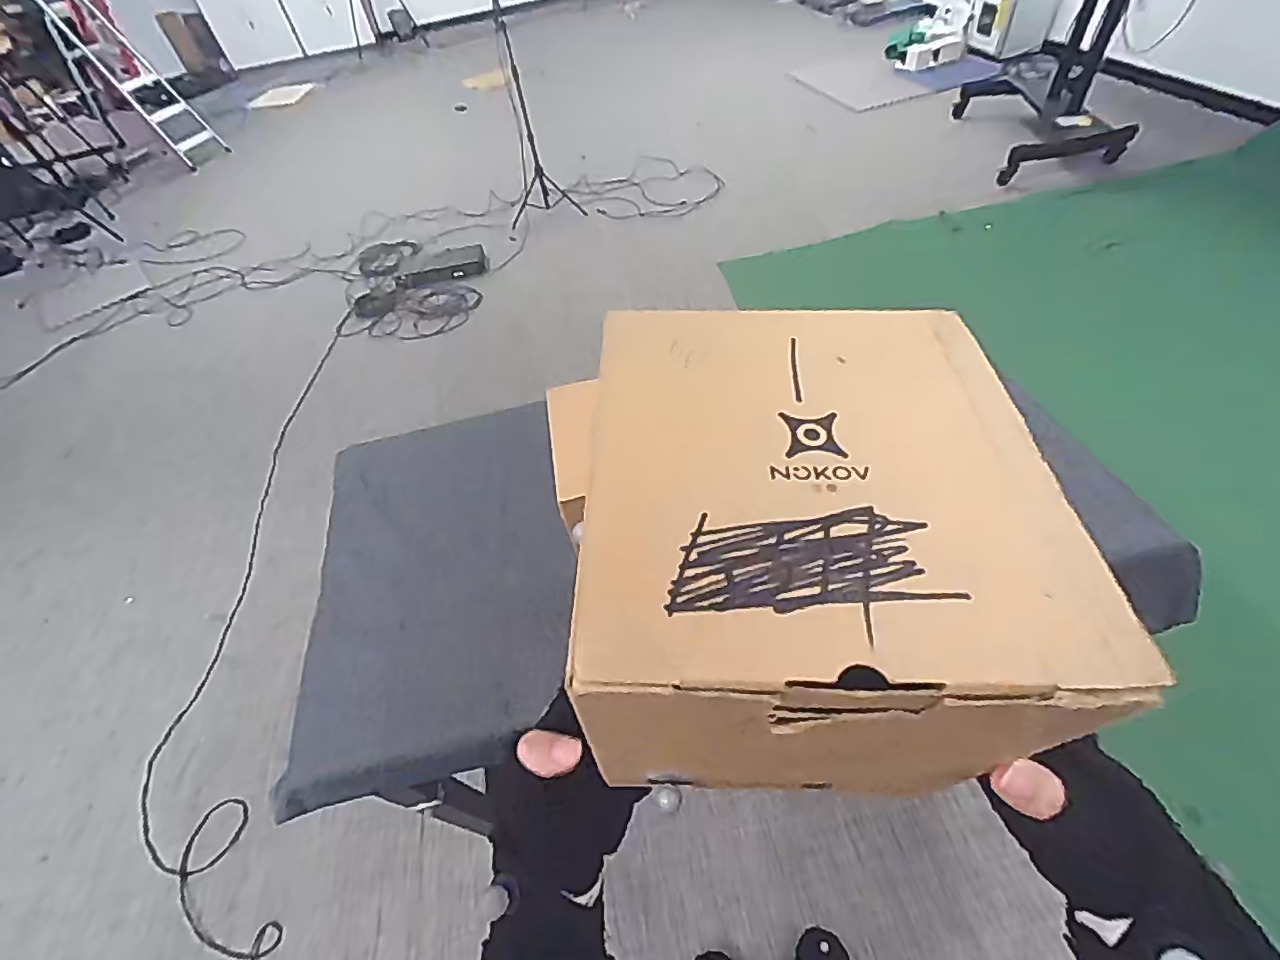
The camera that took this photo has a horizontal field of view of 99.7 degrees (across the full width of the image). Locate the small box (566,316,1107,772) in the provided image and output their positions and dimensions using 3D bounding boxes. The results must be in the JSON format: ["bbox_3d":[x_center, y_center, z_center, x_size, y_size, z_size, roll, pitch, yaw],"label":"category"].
[{"bbox_3d":[0.063,0.039,0.276,0.168,0.176,0.179,1,52,2],"label":"small box"}]

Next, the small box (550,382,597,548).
[{"bbox_3d":[0.008,0.000,0.603,0.179,0.176,0.168,-13,47,-1],"label":"small box"}]
